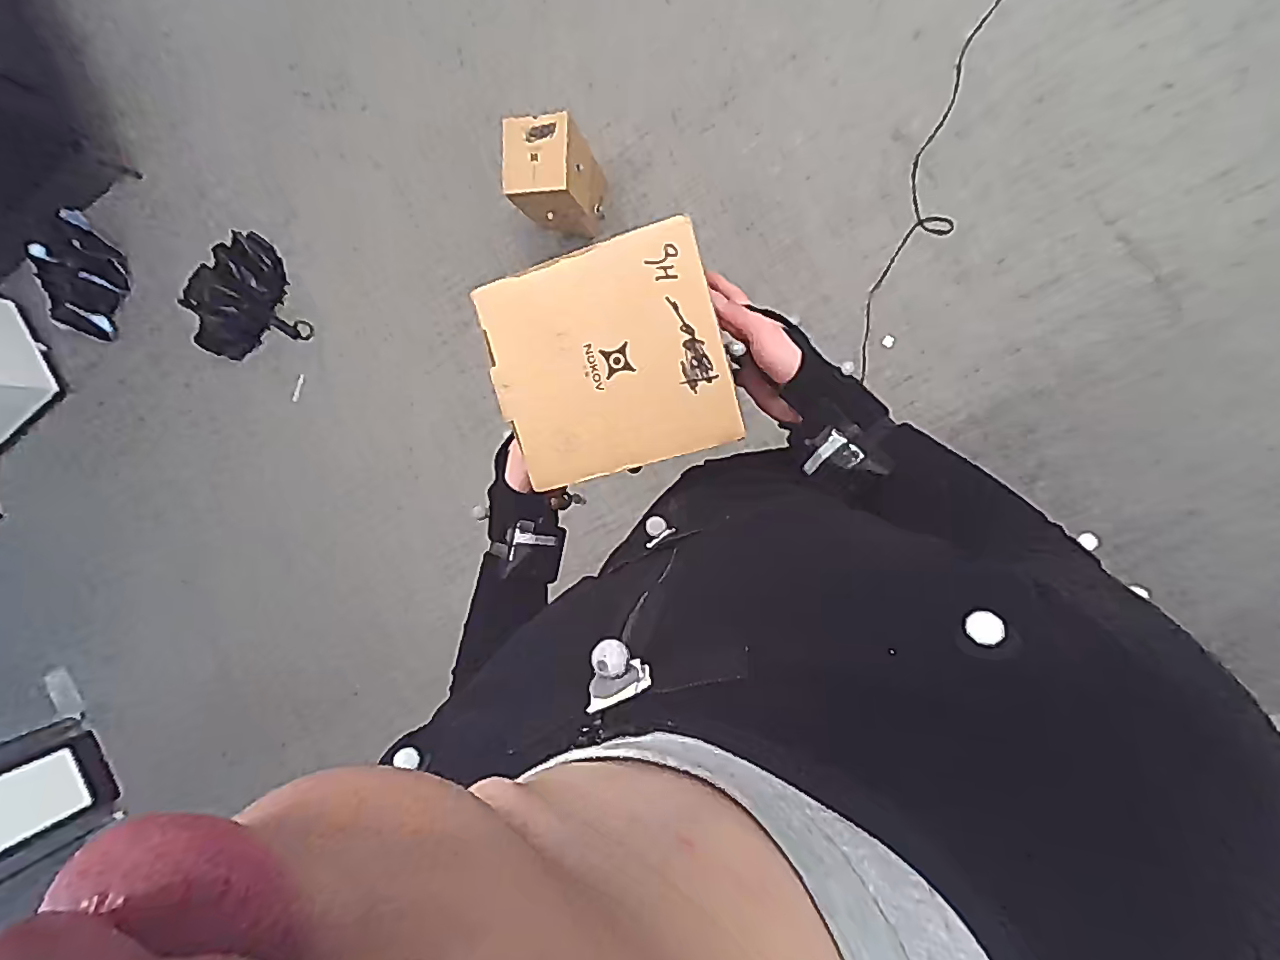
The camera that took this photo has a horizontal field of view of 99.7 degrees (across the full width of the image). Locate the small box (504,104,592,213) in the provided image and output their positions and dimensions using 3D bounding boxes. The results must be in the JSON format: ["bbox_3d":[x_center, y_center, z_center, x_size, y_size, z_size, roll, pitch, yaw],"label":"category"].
[{"bbox_3d":[-0.222,-0.786,1.338,0.168,0.176,0.179,3,96,14],"label":"small box"}]

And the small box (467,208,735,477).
[{"bbox_3d":[-0.018,-0.110,0.482,0.179,0.176,0.168,-12,99,13],"label":"small box"}]

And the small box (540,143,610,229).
[{"bbox_3d":[-0.202,-0.819,1.500,0.179,0.176,0.168,16,98,11],"label":"small box"}]
